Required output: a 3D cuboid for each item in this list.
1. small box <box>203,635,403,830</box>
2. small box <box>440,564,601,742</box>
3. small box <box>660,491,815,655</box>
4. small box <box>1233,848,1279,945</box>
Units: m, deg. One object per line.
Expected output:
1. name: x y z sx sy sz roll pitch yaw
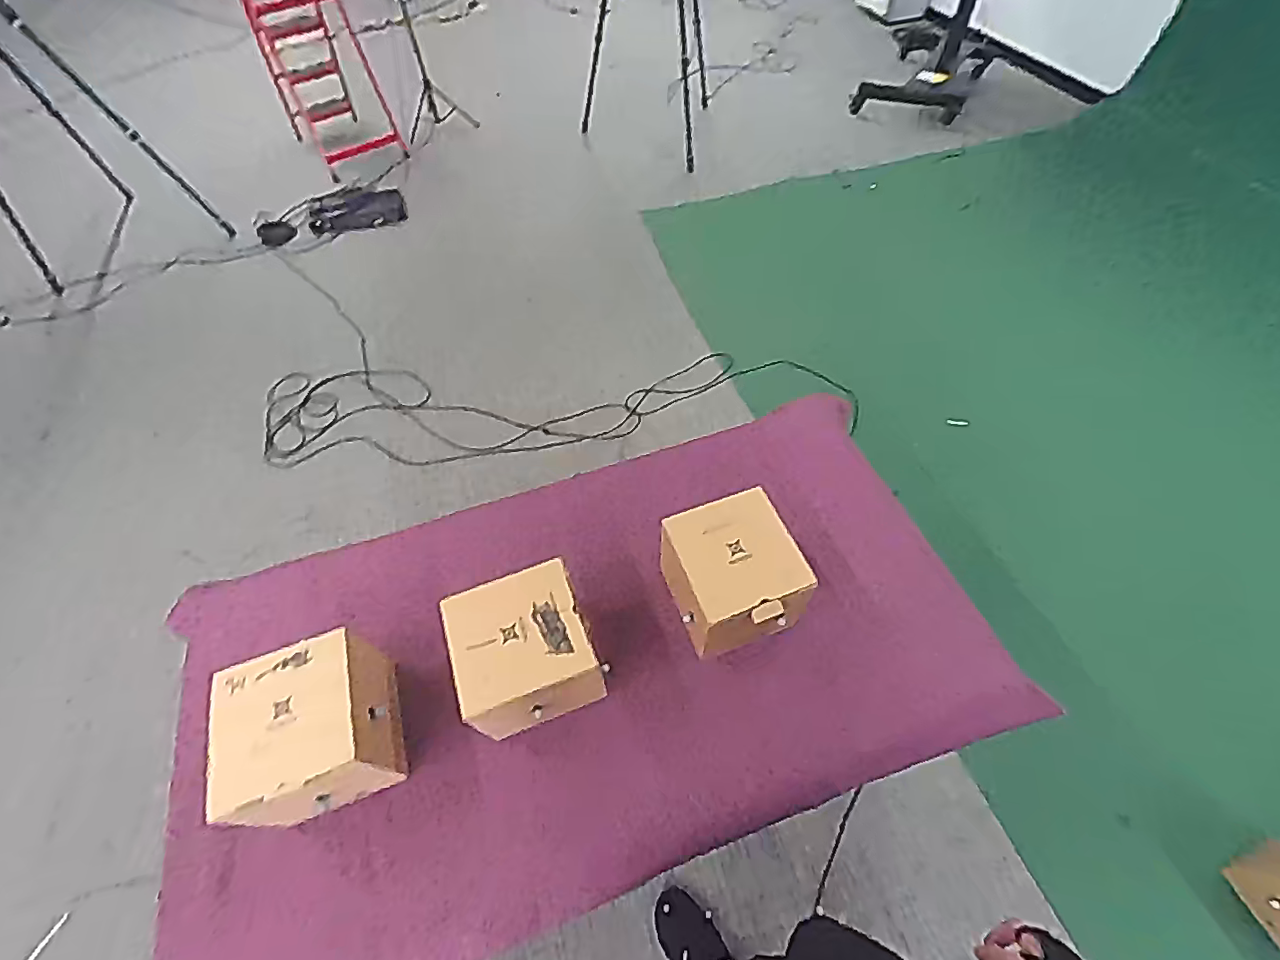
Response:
1. small box: -0.435 0.337 0.721 0.168 0.176 0.179 -18 58 -11
2. small box: -0.161 0.250 0.772 0.179 0.176 0.168 -19 57 -10
3. small box: 0.138 0.151 0.829 0.168 0.176 0.179 -18 57 -10
4. small box: 1.443 0.902 1.146 0.179 0.176 0.168 -17 56 -11
